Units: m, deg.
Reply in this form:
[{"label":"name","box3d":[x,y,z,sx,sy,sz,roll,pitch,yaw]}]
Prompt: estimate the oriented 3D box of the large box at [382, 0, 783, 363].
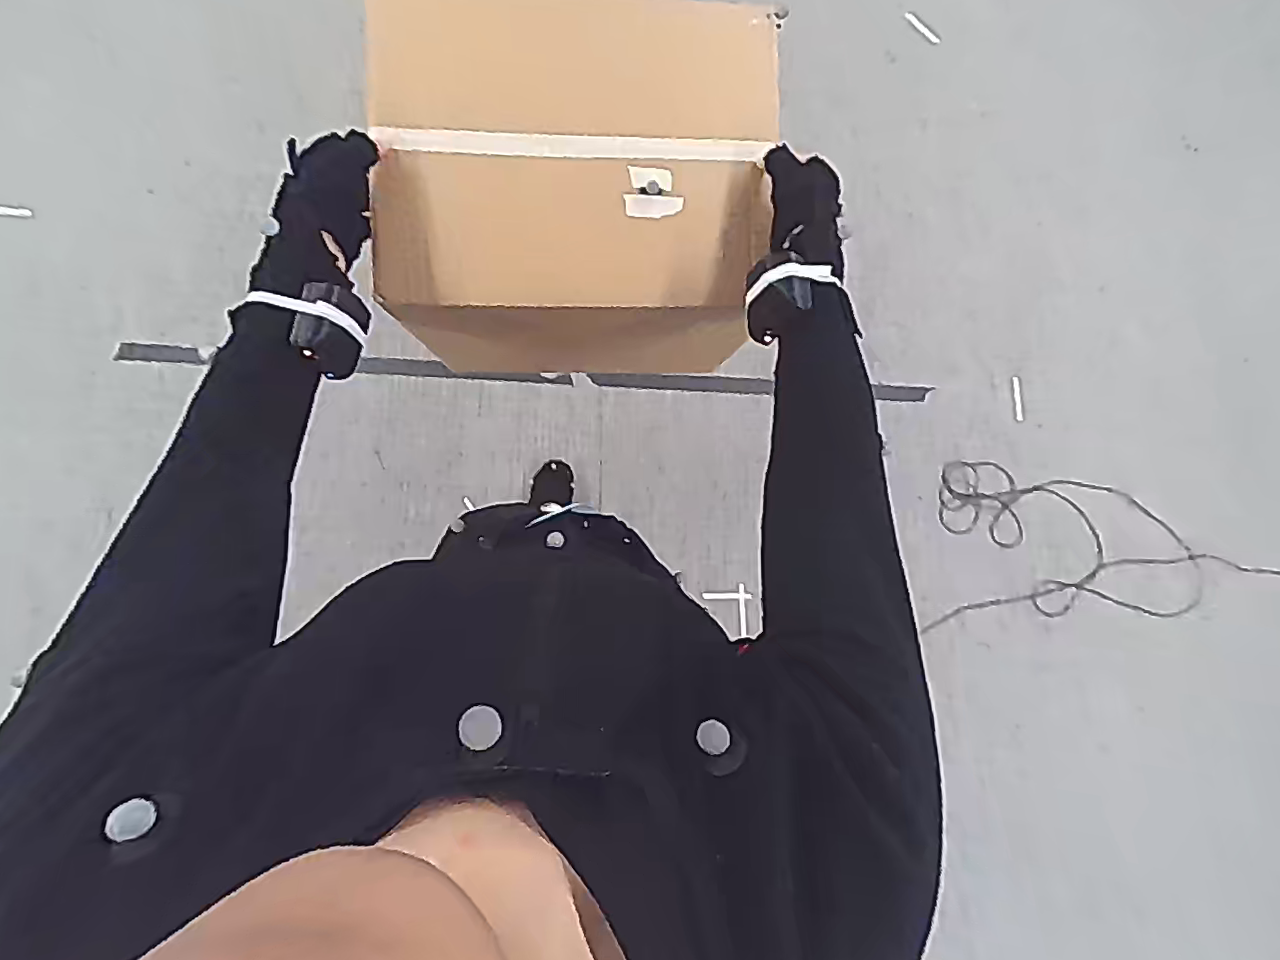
[{"label":"large box","box3d":[-0.069,-0.338,0.694,0.408,0.320,0.320,-1,90,-7]}]
